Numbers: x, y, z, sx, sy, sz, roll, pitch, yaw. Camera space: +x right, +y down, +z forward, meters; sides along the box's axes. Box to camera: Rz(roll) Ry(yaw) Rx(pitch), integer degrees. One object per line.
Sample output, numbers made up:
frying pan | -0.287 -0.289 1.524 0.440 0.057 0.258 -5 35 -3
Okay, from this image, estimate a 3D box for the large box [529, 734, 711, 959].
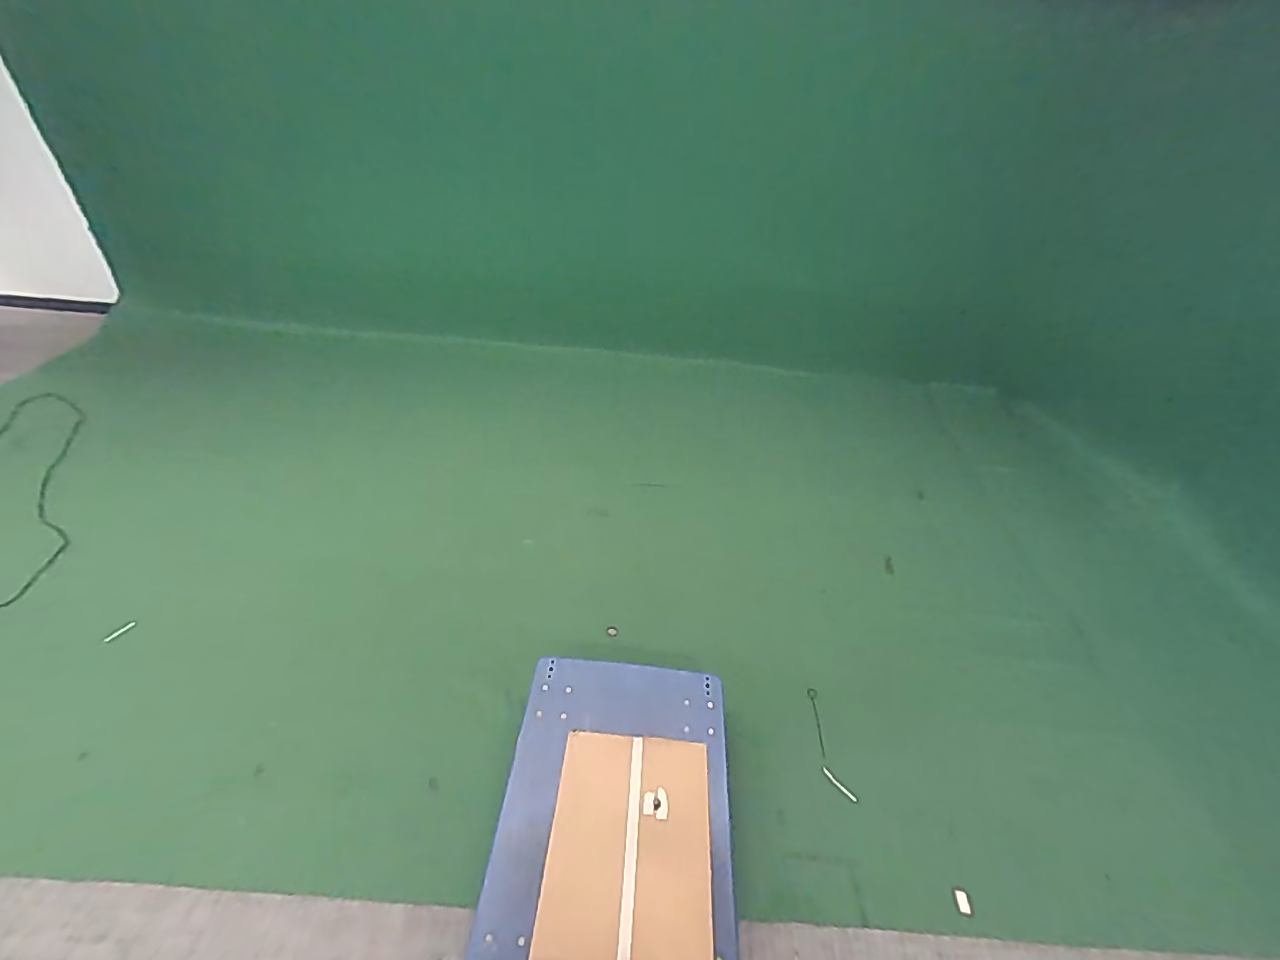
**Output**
large box | -0.036 0.818 1.139 0.320 0.320 0.408 6 37 -1
